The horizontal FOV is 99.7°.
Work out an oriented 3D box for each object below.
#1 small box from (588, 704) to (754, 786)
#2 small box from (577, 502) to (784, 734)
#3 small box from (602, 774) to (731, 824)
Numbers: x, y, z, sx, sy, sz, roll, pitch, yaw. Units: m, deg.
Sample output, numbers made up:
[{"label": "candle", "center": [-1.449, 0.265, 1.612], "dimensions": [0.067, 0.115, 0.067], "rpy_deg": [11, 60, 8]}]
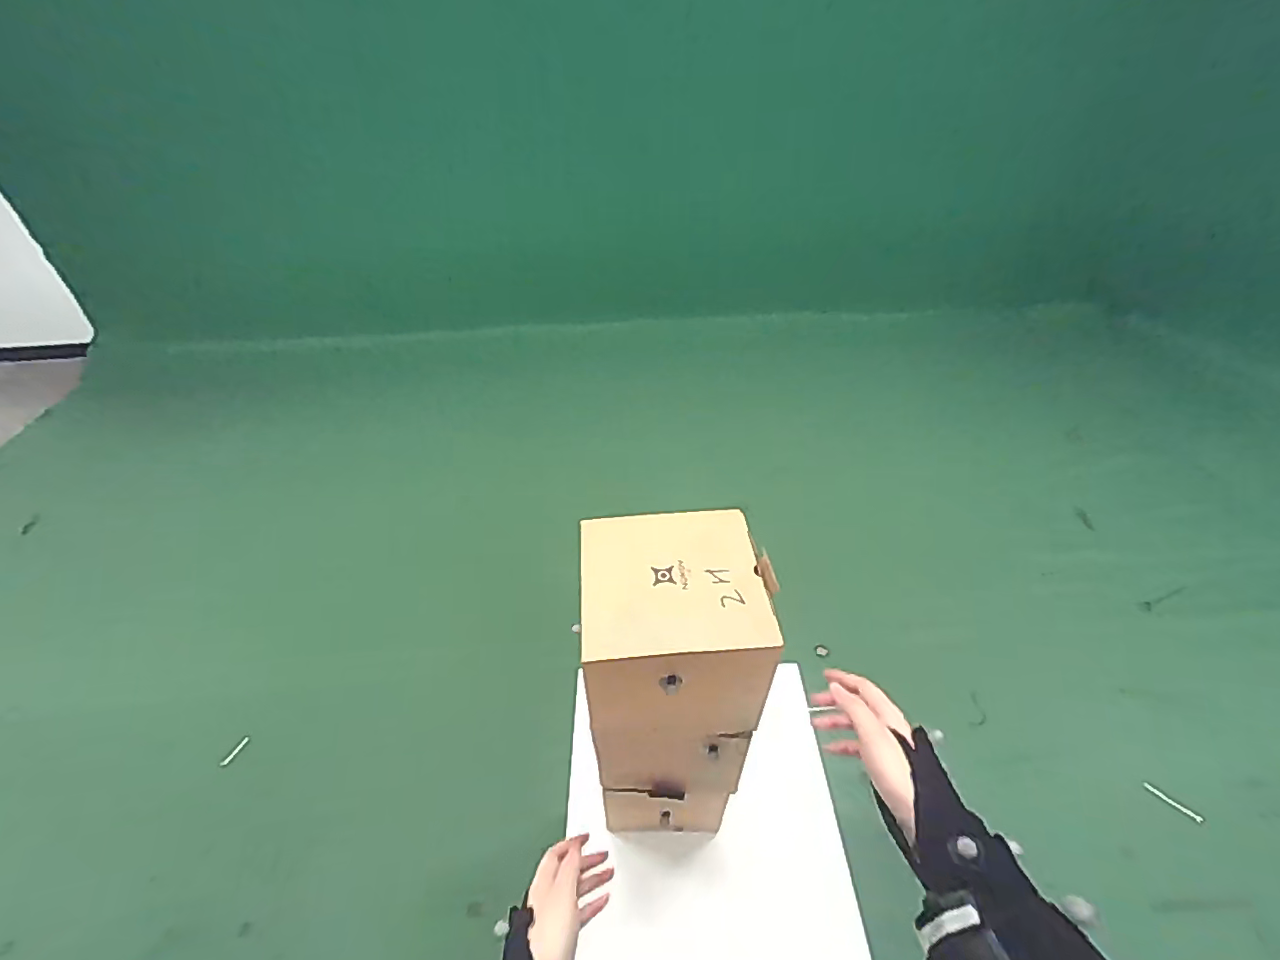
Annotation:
[{"label": "small box", "center": [0.037, 0.262, 0.672], "dimensions": [0.179, 0.176, 0.168], "rpy_deg": [1, 42, 2]}, {"label": "small box", "center": [0.030, 0.144, 0.558], "dimensions": [0.179, 0.176, 0.168], "rpy_deg": [-4, 43, -4]}, {"label": "small box", "center": [0.036, 0.380, 0.784], "dimensions": [0.168, 0.176, 0.179], "rpy_deg": [-1, 43, 0]}]
